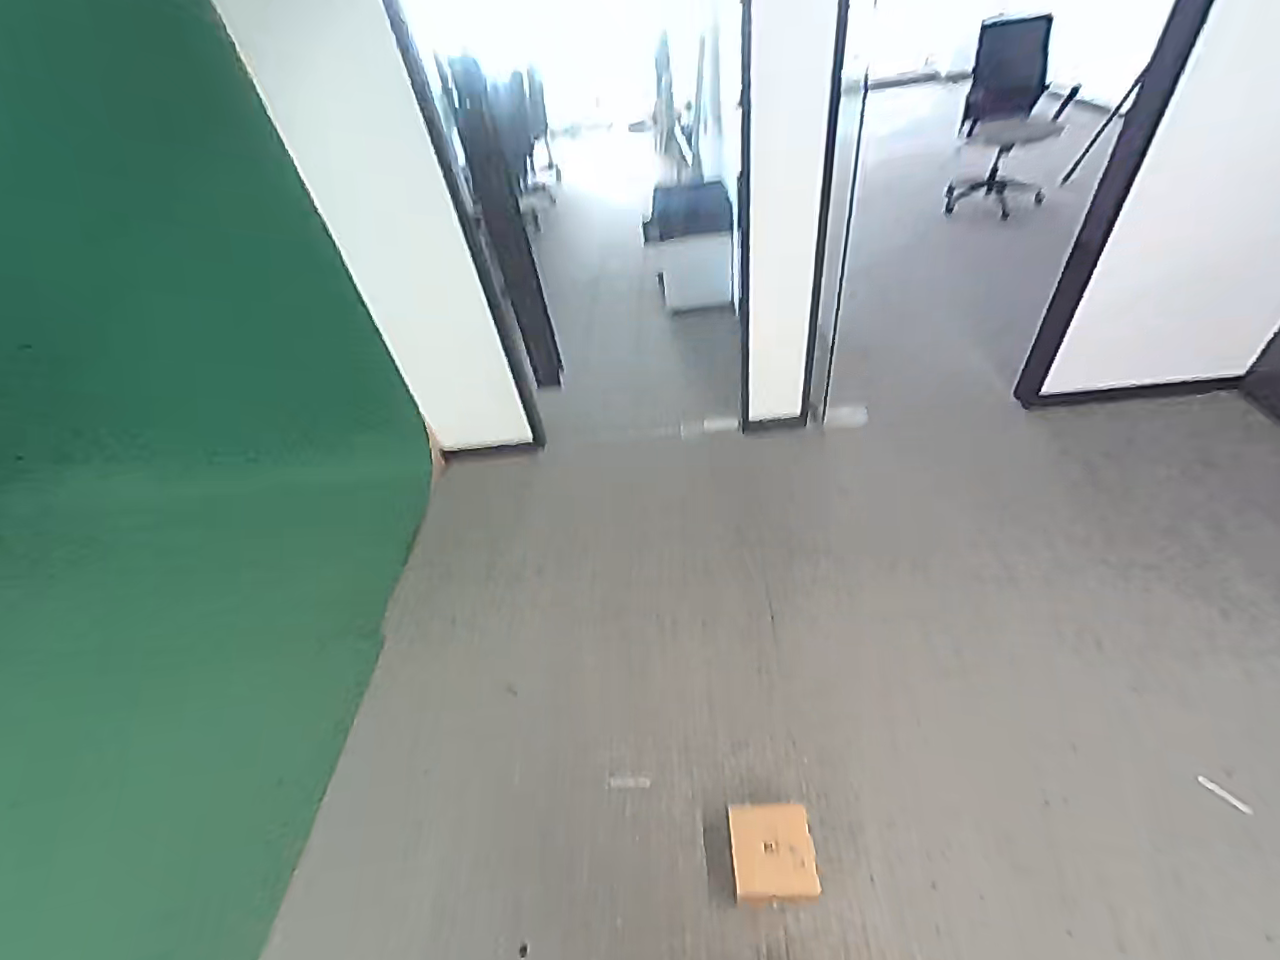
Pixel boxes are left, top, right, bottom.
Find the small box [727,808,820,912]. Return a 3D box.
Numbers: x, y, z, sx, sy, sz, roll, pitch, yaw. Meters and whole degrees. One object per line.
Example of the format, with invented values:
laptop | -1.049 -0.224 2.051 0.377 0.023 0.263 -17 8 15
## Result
small box | 0.295 0.859 1.220 0.179 0.176 0.168 -4 43 5
